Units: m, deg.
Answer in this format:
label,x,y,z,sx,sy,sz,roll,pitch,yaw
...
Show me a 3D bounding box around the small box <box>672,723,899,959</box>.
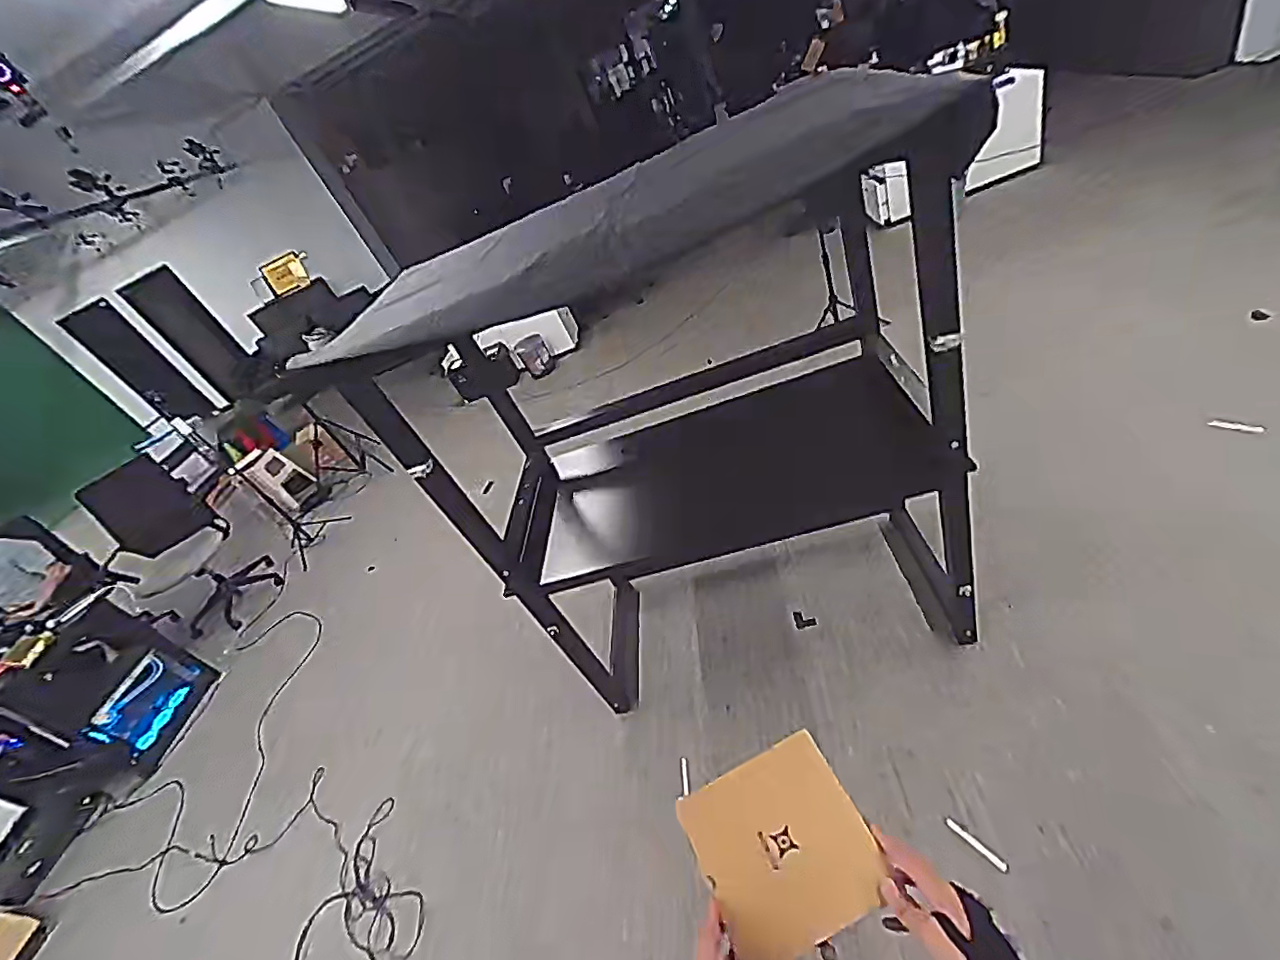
label,x,y,z,sx,sy,sz,roll,pitch,yaw
small box,0.162,0.413,0.623,0.179,0.176,0.168,-30,51,-2
